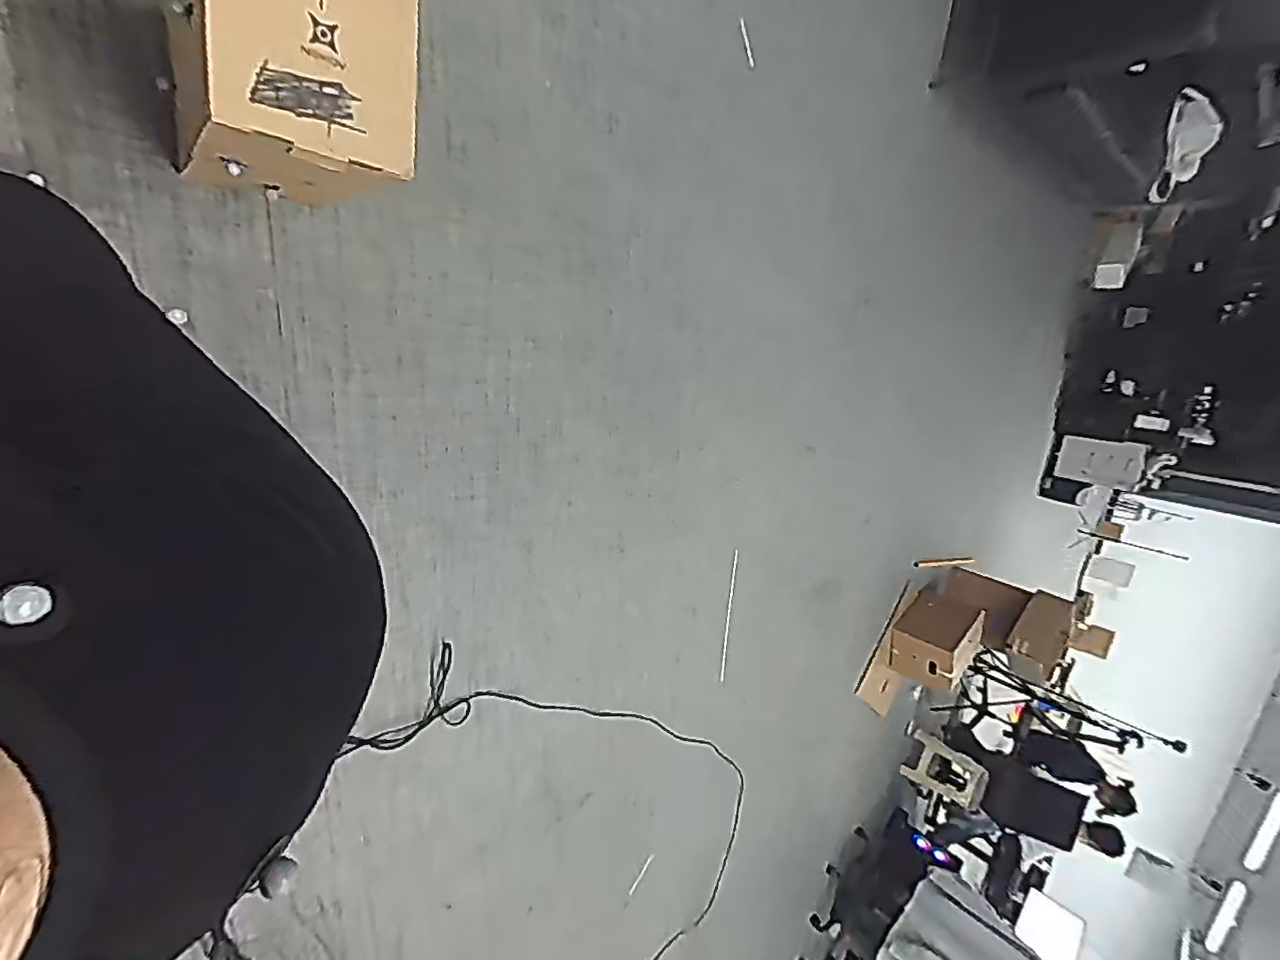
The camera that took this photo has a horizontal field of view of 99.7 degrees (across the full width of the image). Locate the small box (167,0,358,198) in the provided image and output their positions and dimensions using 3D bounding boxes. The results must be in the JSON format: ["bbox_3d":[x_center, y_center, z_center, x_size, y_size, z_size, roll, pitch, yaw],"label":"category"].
[{"bbox_3d":[-0.443,-0.452,0.641,0.168,0.176,0.179,-7,110,-43],"label":"small box"}]

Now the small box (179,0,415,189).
[{"bbox_3d":[-0.334,-0.405,0.526,0.168,0.176,0.179,-6,107,-43],"label":"small box"}]
